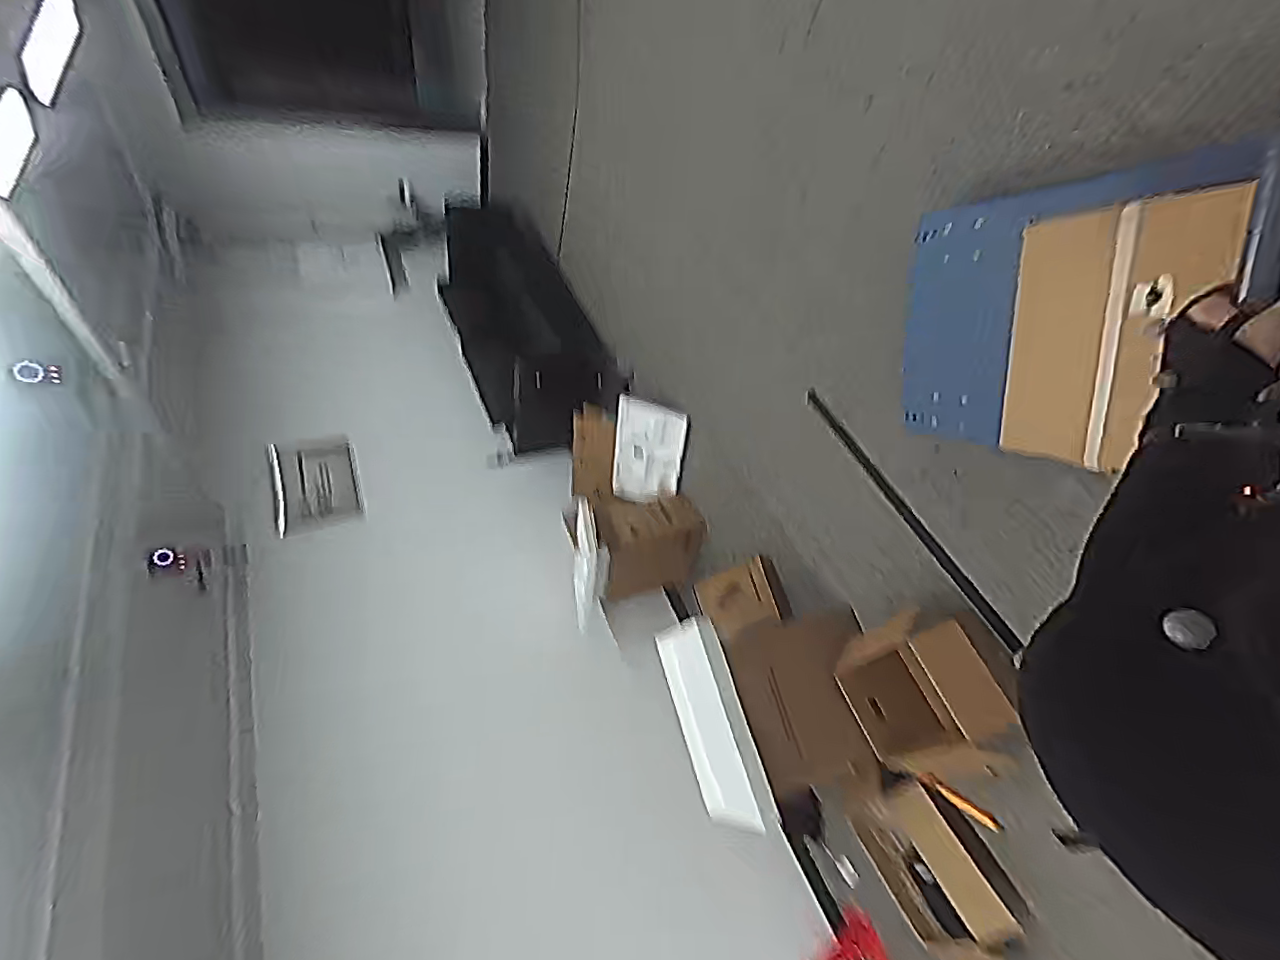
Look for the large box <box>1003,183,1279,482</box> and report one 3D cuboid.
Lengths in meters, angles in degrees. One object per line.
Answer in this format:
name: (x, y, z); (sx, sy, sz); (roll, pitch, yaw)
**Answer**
large box: (0.885, -0.243, 0.920); (0.320, 0.320, 0.408); (26, 124, 61)
